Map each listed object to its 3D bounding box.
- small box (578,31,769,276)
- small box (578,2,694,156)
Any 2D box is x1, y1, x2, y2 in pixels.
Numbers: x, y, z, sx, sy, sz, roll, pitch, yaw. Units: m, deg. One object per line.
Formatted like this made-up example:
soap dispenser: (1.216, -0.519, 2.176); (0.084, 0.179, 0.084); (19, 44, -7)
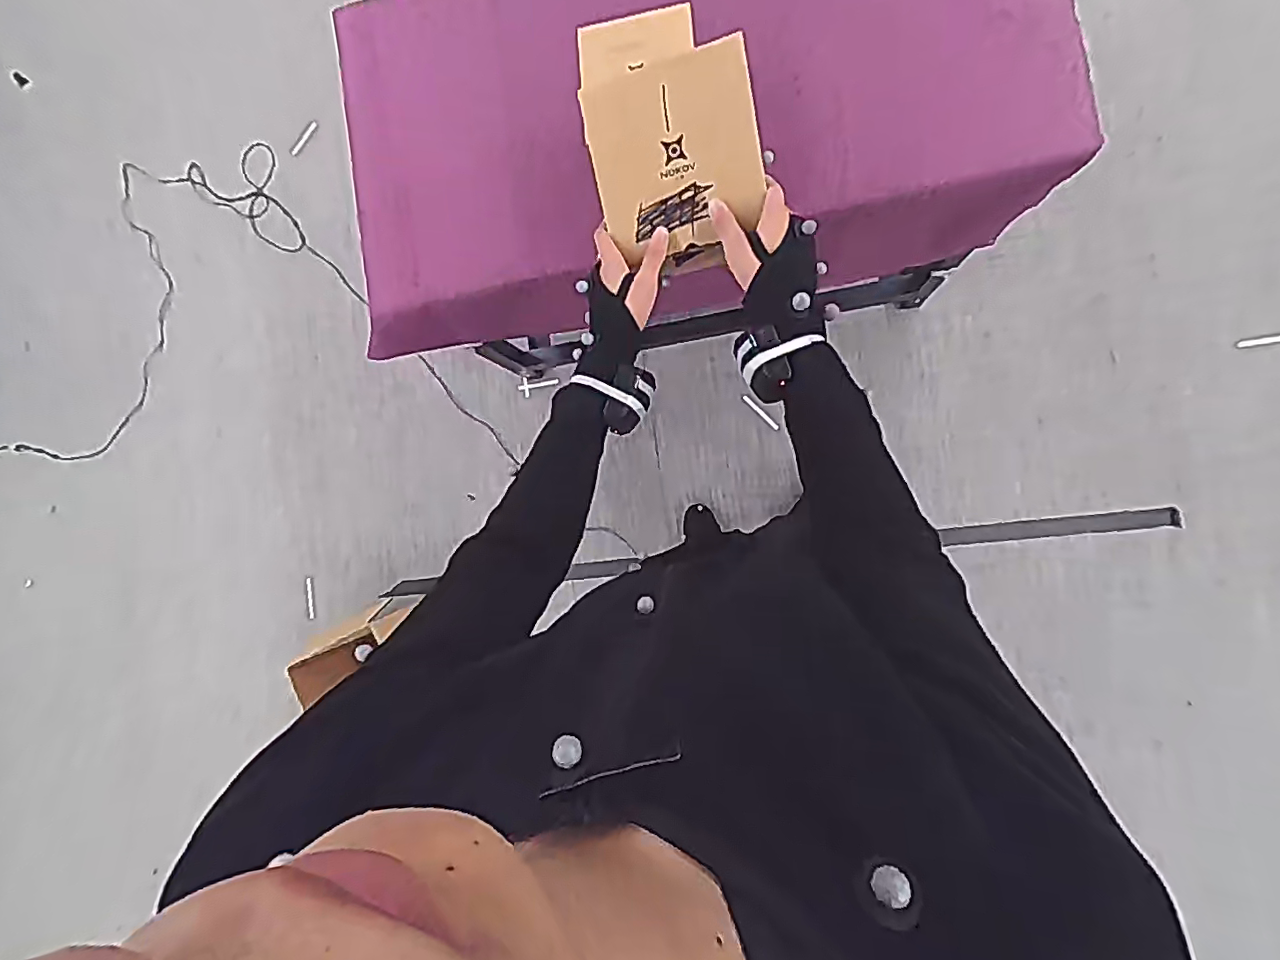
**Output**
small box: (0.049, -0.337, 0.605); (0.168, 0.176, 0.179); (-10, 103, 14)
small box: (0.011, -0.569, 0.837); (0.168, 0.176, 0.179); (-4, 88, 10)
